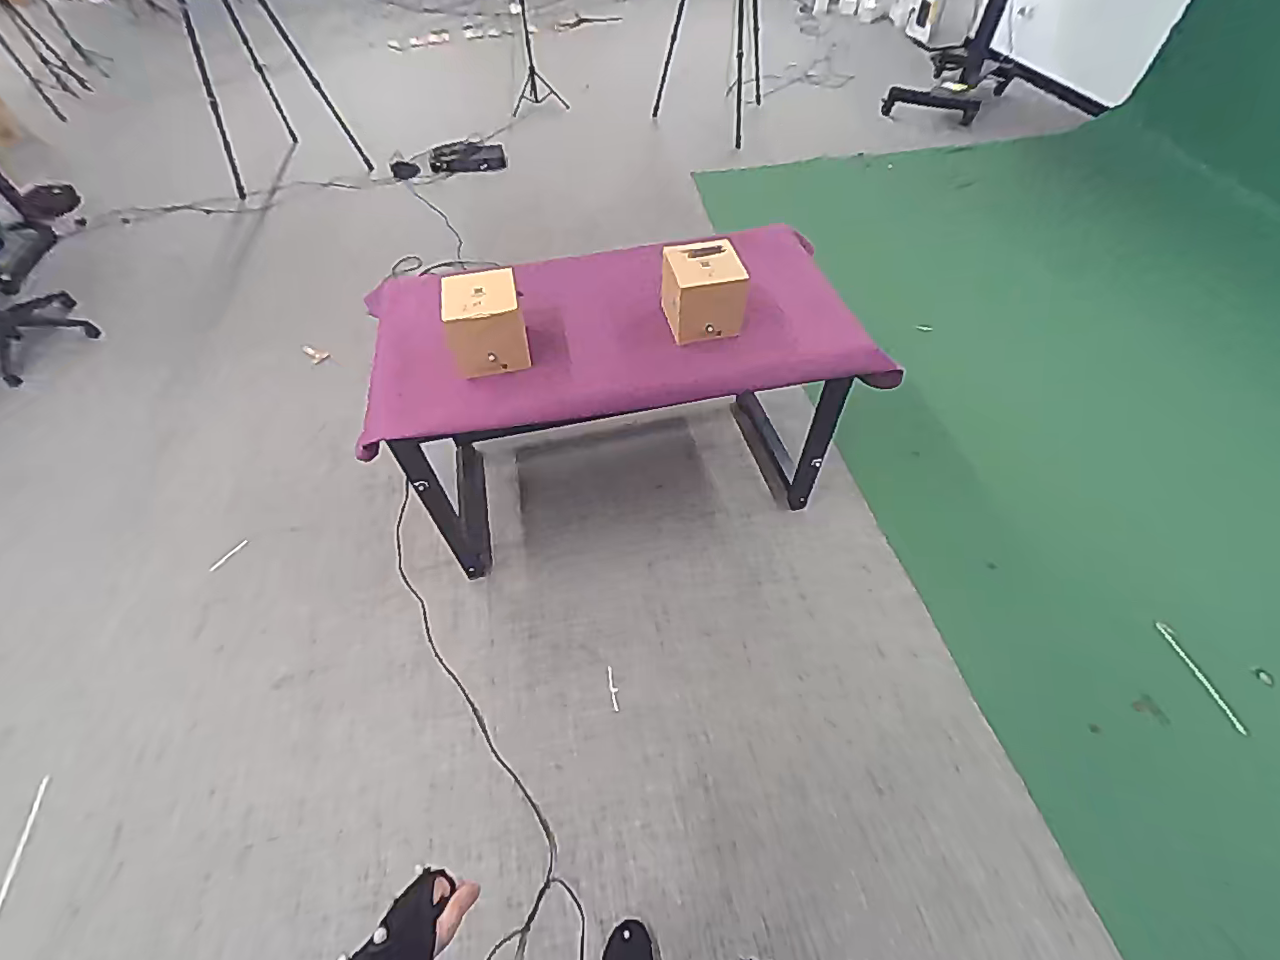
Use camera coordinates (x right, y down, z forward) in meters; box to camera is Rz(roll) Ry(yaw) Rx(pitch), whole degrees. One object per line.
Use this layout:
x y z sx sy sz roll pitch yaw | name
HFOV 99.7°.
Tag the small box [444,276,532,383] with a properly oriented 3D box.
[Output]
-0.361 -0.359 1.297 0.168 0.176 0.179 -11 53 -6 | small box
